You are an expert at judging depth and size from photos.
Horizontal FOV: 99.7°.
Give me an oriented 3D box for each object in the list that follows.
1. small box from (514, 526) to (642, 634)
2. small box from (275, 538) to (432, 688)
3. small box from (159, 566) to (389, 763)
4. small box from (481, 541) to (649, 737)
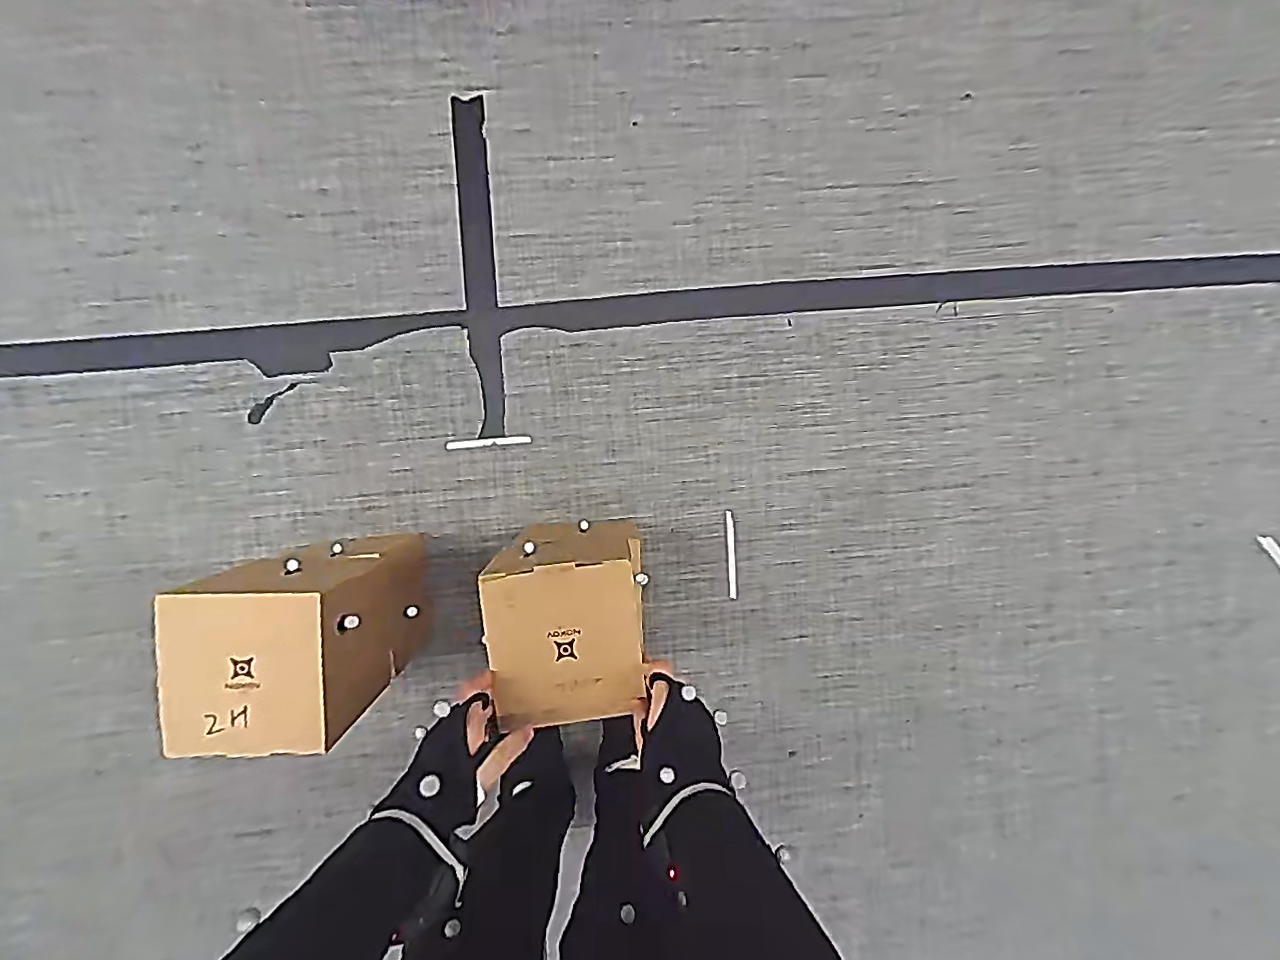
[{"bbox_3d":[-0.089,0.165,0.822,0.179,0.176,0.168,-2,95,-4],"label":"small box"},{"bbox_3d":[-0.422,0.194,0.802,0.168,0.176,0.179,-5,95,-3],"label":"small box"},{"bbox_3d":[-0.411,0.201,0.636,0.168,0.176,0.179,0,94,-3],"label":"small box"},{"bbox_3d":[-0.084,0.176,0.659,0.168,0.176,0.179,-7,96,-3],"label":"small box"}]
